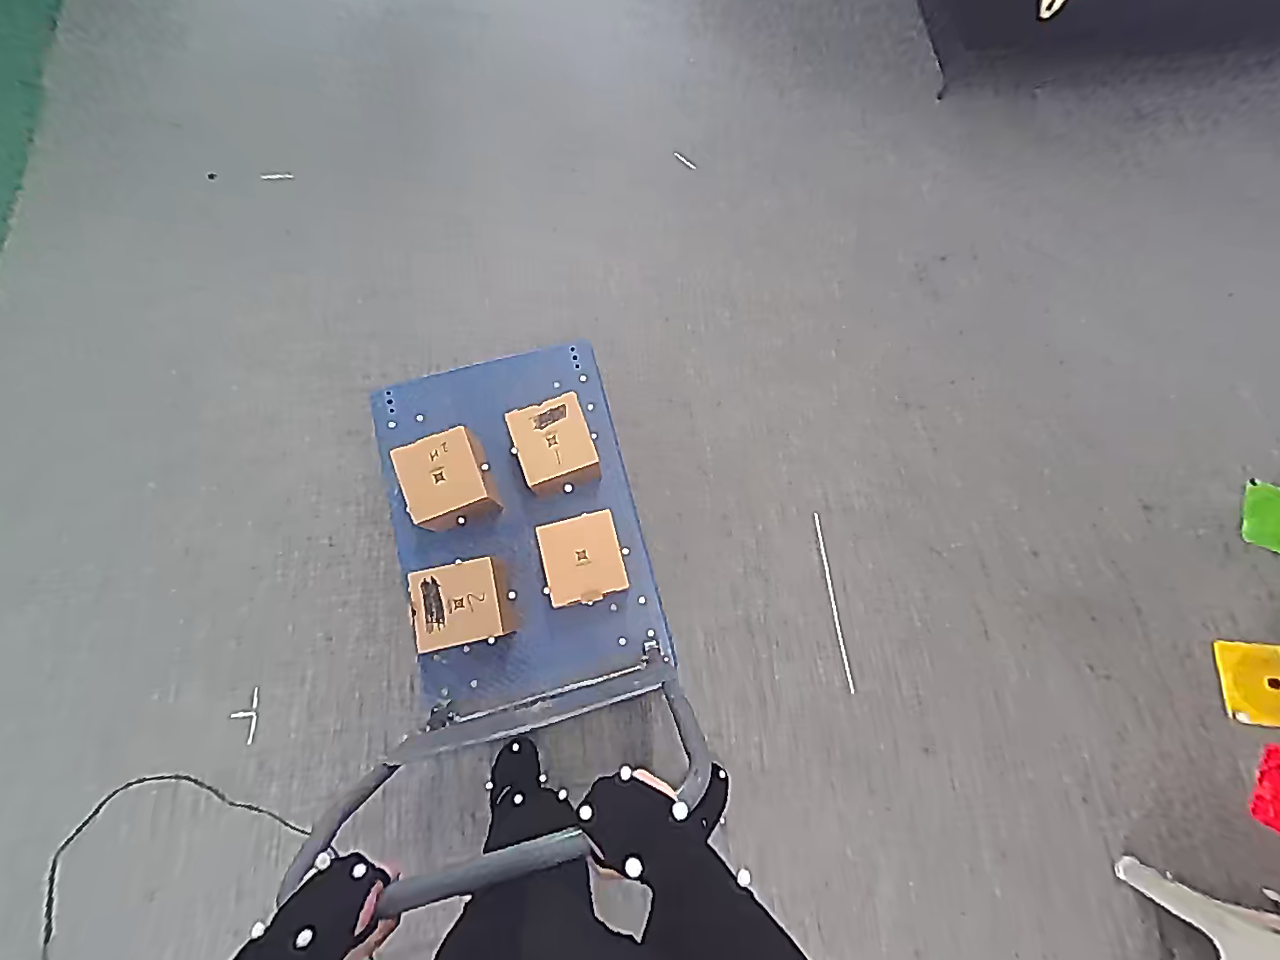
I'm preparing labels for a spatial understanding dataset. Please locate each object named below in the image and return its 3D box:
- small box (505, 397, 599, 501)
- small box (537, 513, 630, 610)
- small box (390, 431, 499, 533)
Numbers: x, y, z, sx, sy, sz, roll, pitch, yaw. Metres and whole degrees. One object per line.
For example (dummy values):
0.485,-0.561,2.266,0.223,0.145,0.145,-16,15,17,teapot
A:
-0.200,-0.067,1.267,0.168,0.176,0.179,-20,80,-6,small box
-0.125,0.187,1.217,0.168,0.176,0.179,-14,80,-5,small box
-0.438,0.014,1.239,0.168,0.176,0.179,-21,80,-8,small box
